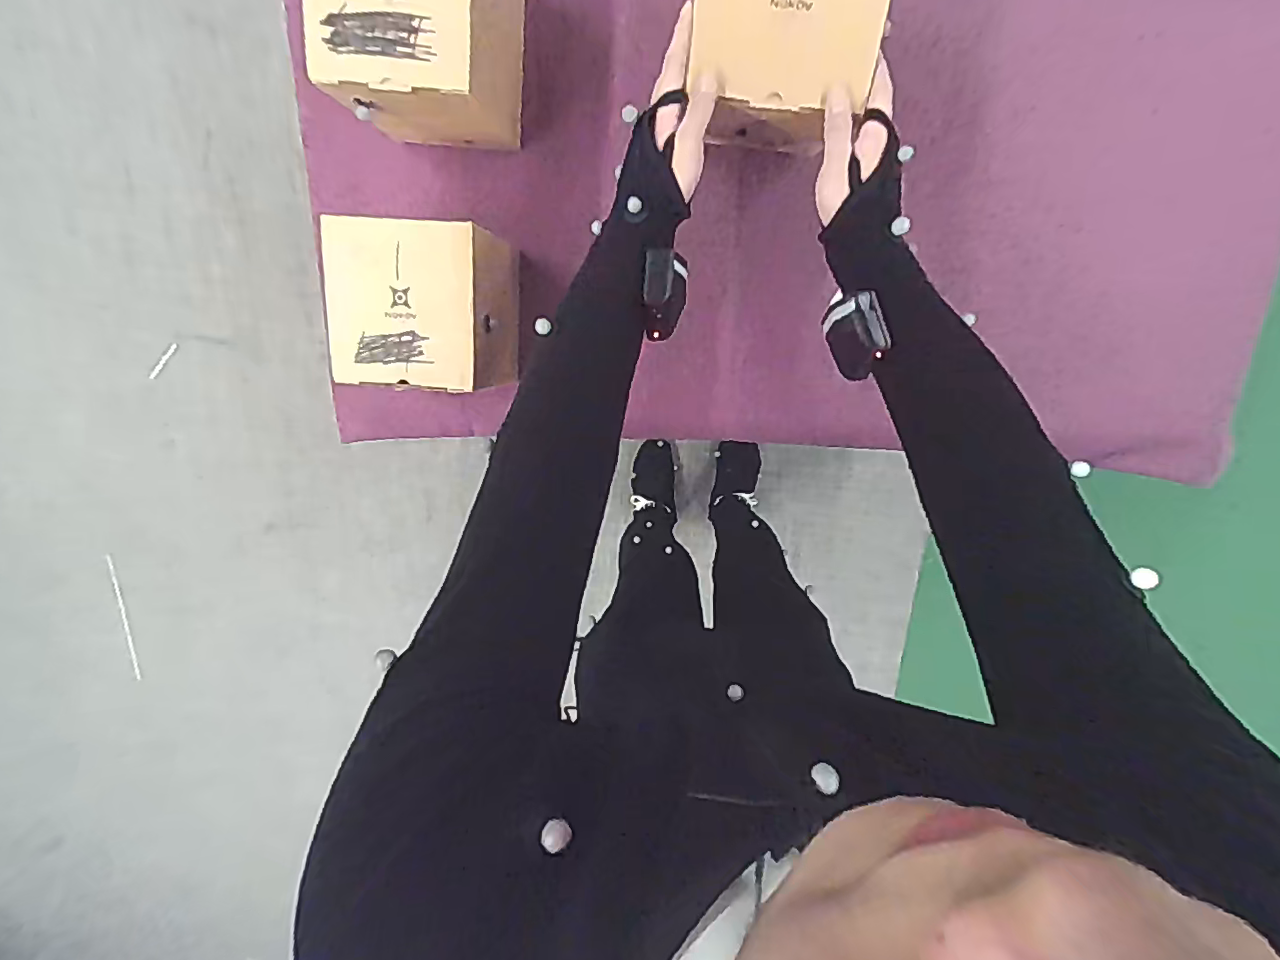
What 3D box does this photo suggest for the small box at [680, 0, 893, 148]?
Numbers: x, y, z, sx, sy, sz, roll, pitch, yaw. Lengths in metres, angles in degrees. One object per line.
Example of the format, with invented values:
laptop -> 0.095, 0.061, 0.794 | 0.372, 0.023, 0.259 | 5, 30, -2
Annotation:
small box -> 0.133, -0.446, 0.524 | 0.168, 0.176, 0.179 | 6, 113, -2

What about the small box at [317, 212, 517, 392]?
small box -> -0.251, -0.207, 0.652 | 0.168, 0.176, 0.179 | 4, 105, 3
